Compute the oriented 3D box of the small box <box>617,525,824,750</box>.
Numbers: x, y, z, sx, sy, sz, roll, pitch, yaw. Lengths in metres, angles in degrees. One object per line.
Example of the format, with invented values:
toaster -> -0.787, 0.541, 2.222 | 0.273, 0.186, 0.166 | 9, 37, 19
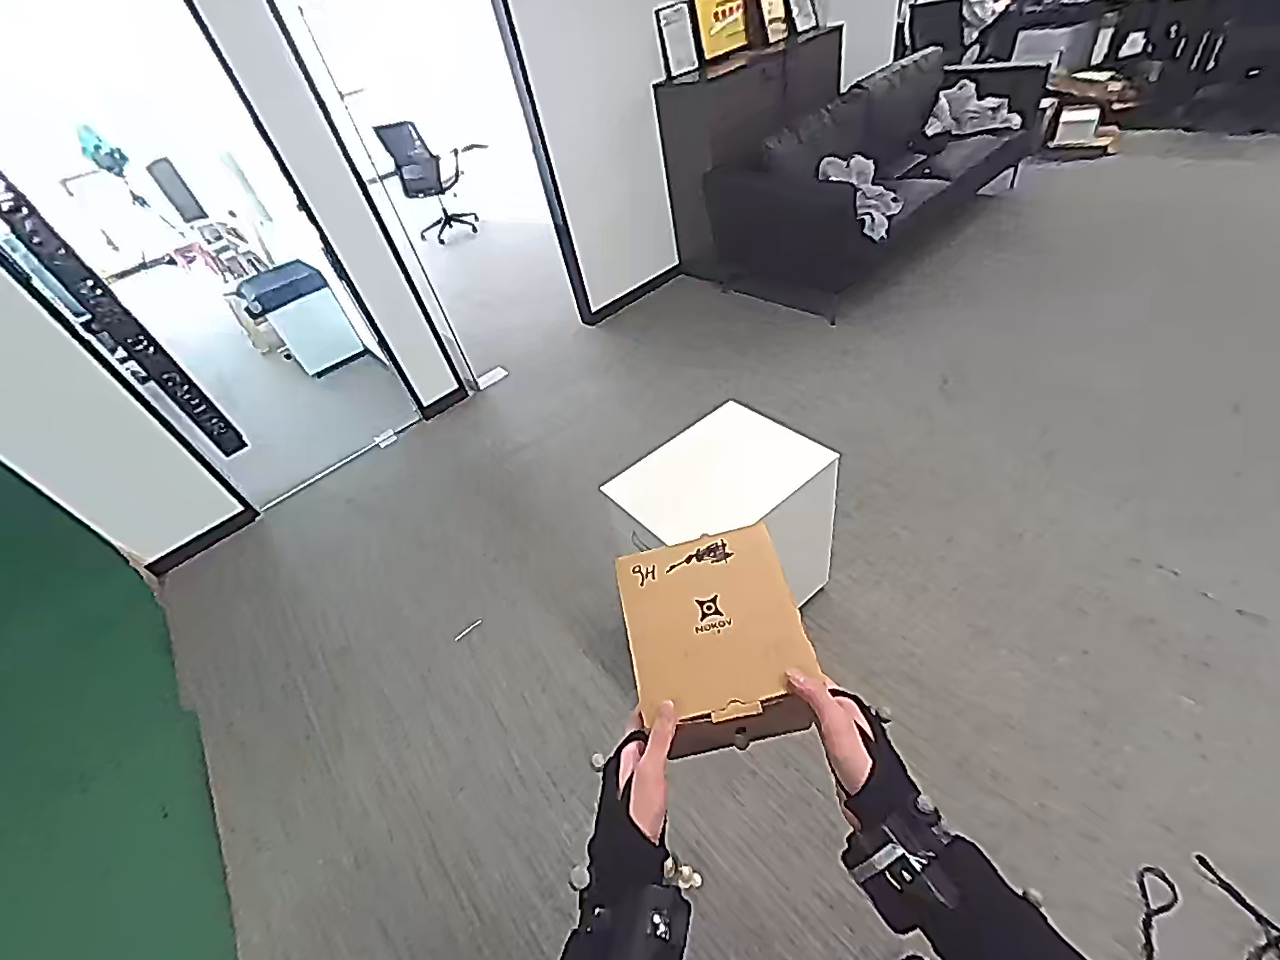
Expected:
small box -> 0.085, 0.181, 0.592 | 0.168, 0.176, 0.179 | -16, 53, 1
